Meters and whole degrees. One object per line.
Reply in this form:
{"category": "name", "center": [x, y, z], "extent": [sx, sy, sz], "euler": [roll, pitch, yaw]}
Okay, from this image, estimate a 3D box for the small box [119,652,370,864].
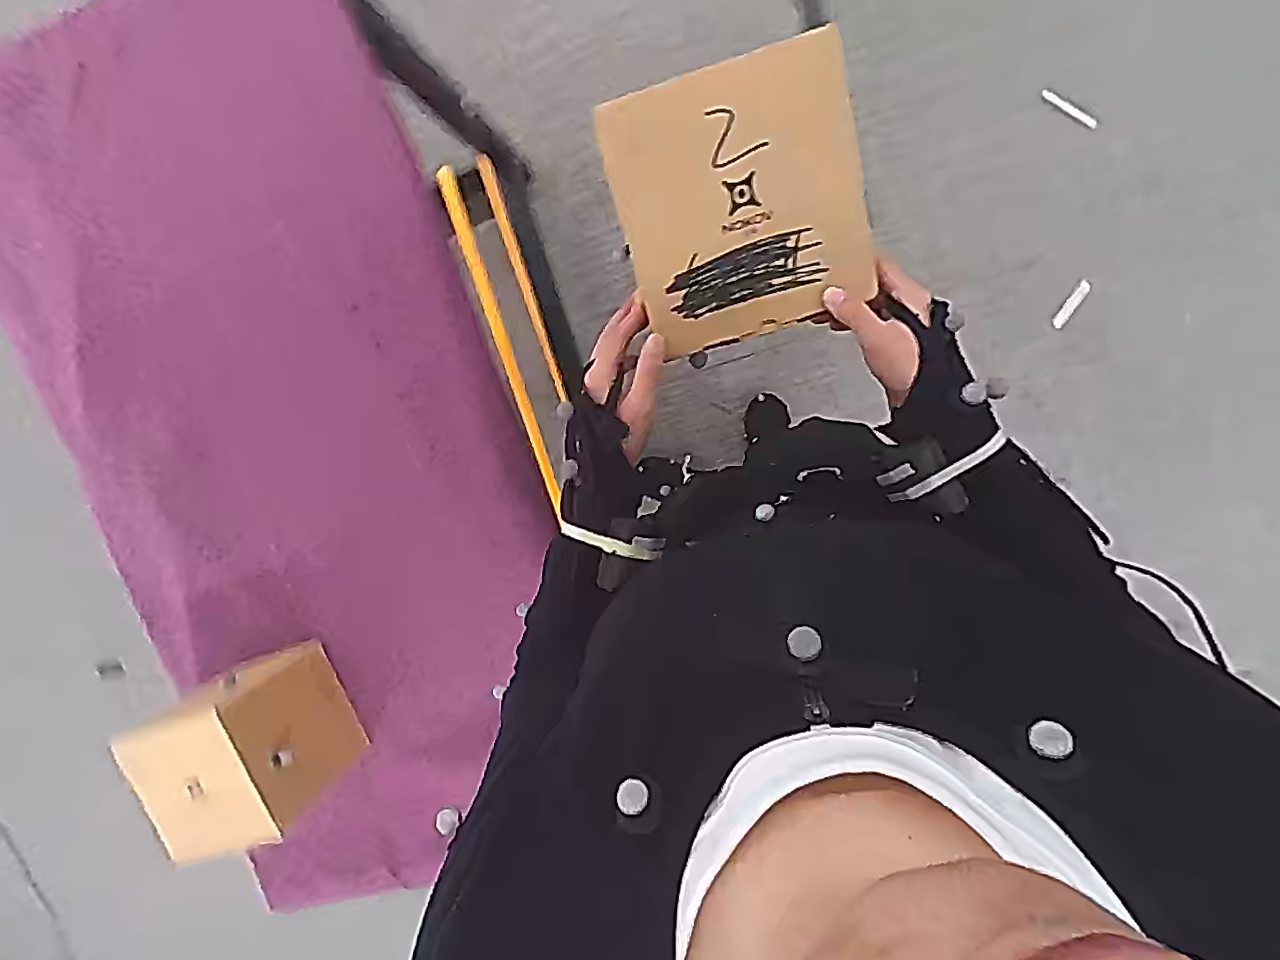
{"category": "small box", "center": [-0.503, 0.350, 0.715], "extent": [0.168, 0.176, 0.179], "euler": [-21, 98, 11]}
